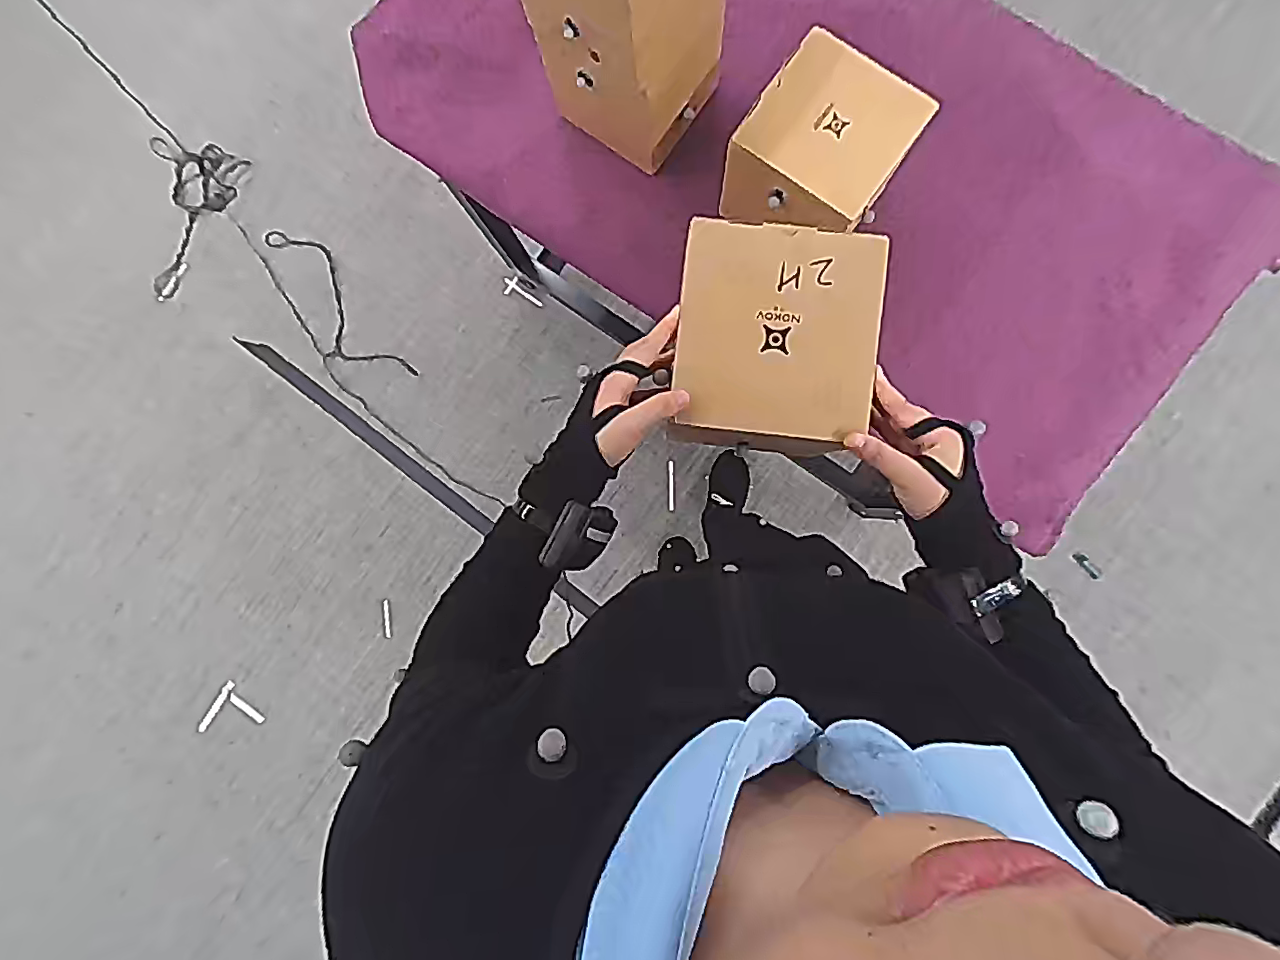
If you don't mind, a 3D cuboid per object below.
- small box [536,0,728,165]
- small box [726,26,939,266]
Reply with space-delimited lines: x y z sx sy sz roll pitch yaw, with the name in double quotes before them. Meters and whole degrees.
"small box" -0.005 -0.567 0.718 0.179 0.176 0.168 36 92 4
"small box" 0.230 -0.407 0.697 0.179 0.176 0.168 37 91 5
